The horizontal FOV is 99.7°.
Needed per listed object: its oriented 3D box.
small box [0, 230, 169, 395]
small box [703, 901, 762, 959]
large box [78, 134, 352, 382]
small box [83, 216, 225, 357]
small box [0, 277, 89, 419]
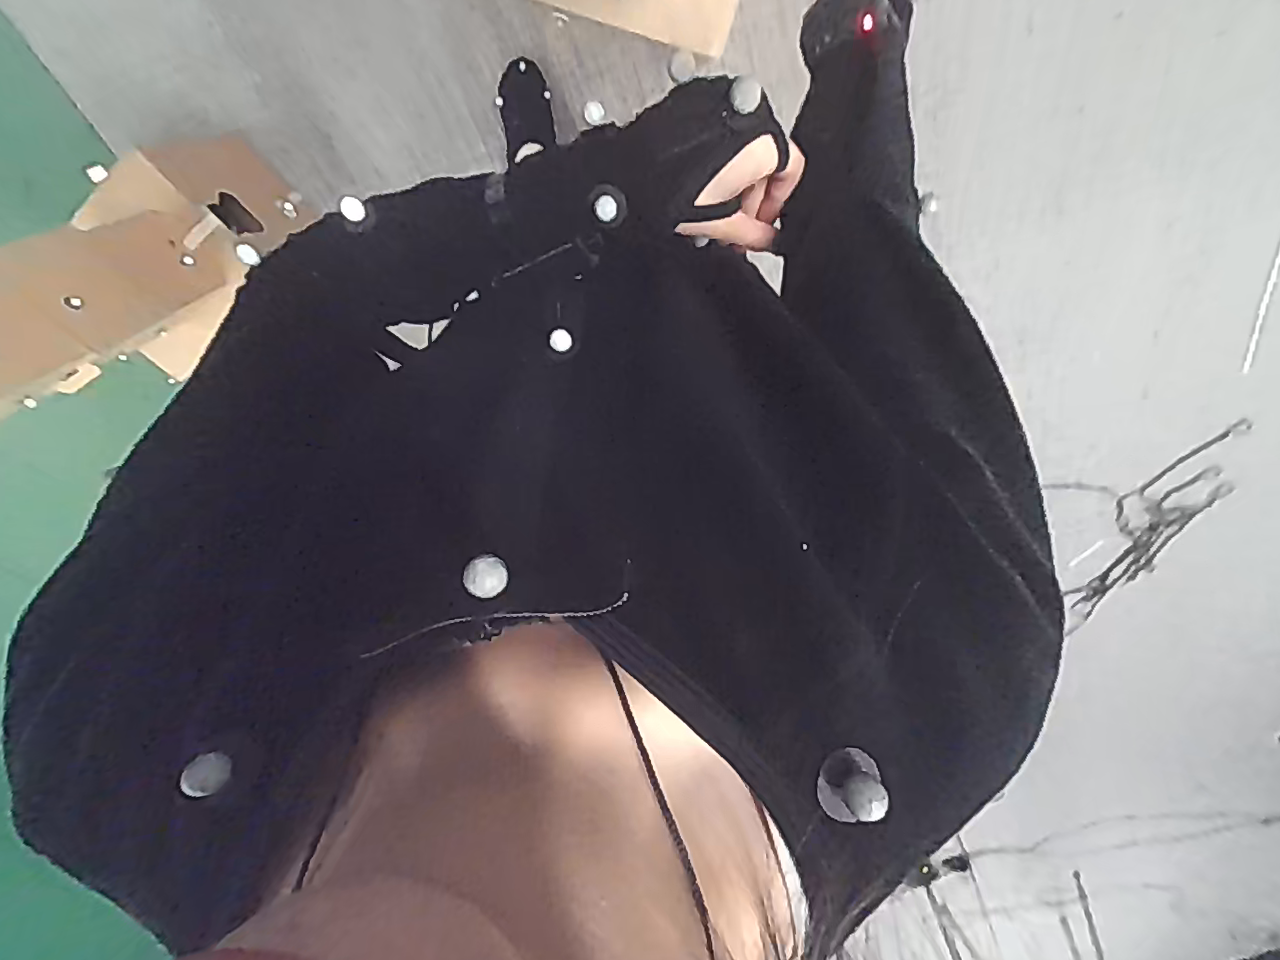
[{"bbox_3d":[-0.952,-0.278,0.894,0.168,0.176,0.179,-22,124,18],"label":"small box"},{"bbox_3d":[0.309,1.539,1.811,0.168,0.176,0.179,-13,124,12],"label":"small box"},{"bbox_3d":[-0.966,-0.504,1.236,0.408,0.320,0.320,-26,120,22],"label":"large box"},{"bbox_3d":[-0.953,-0.370,1.030,0.179,0.176,0.168,-24,123,19],"label":"small box"},{"bbox_3d":[-0.963,-0.179,0.763,0.168,0.176,0.179,-24,124,19],"label":"small box"}]
